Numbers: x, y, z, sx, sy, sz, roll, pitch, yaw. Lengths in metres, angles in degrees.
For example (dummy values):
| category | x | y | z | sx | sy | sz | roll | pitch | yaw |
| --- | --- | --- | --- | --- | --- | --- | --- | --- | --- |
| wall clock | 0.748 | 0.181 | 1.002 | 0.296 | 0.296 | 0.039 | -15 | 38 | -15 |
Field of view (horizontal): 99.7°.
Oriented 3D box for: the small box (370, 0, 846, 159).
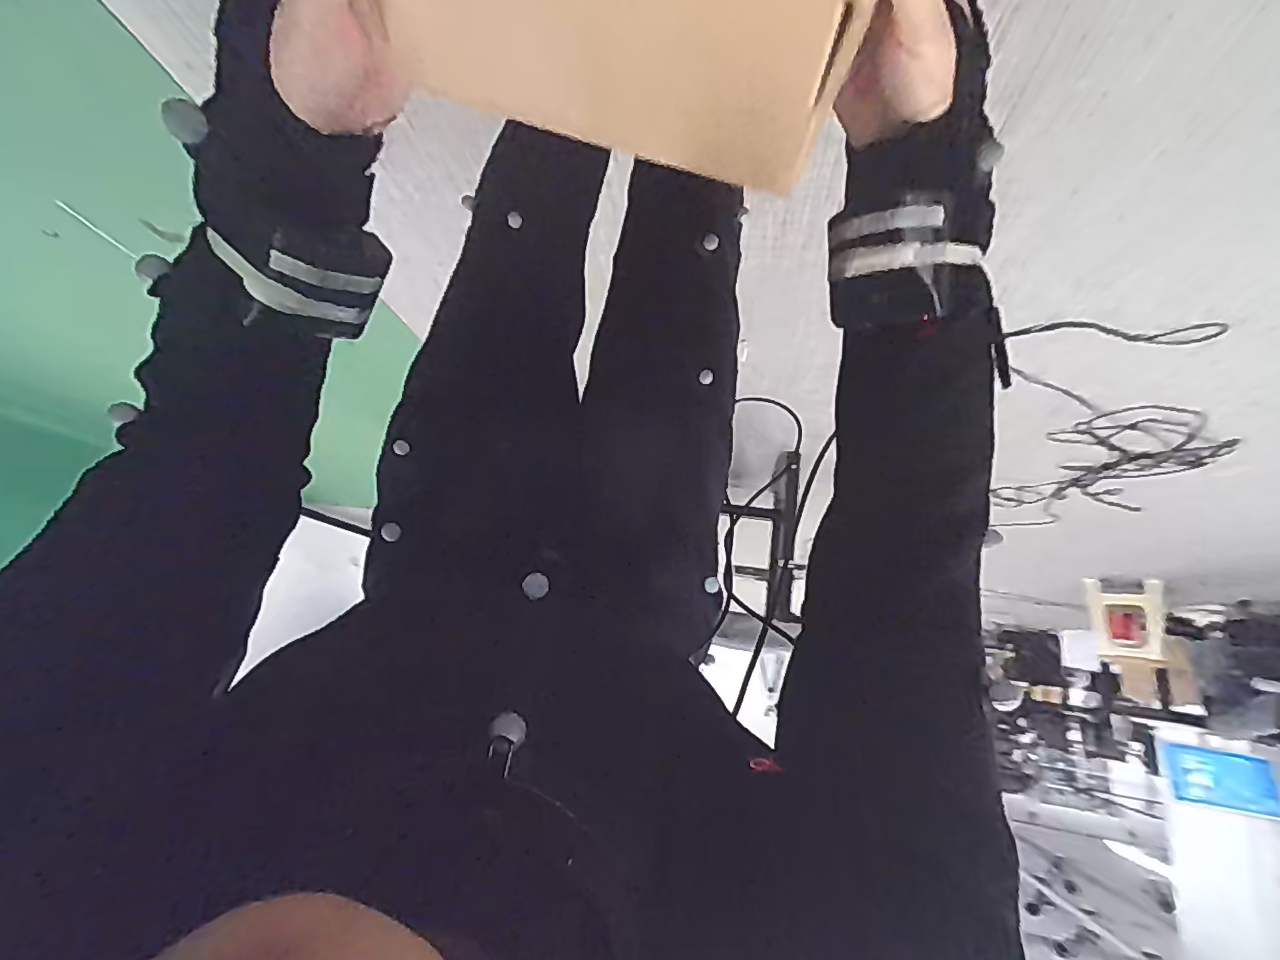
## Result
| category | x | y | z | sx | sy | sz | roll | pitch | yaw |
| --- | --- | --- | --- | --- | --- | --- | --- | --- | --- |
| small box | 0.005 | -0.252 | 0.179 | 0.179 | 0.176 | 0.168 | 21 | 155 | 9 |
